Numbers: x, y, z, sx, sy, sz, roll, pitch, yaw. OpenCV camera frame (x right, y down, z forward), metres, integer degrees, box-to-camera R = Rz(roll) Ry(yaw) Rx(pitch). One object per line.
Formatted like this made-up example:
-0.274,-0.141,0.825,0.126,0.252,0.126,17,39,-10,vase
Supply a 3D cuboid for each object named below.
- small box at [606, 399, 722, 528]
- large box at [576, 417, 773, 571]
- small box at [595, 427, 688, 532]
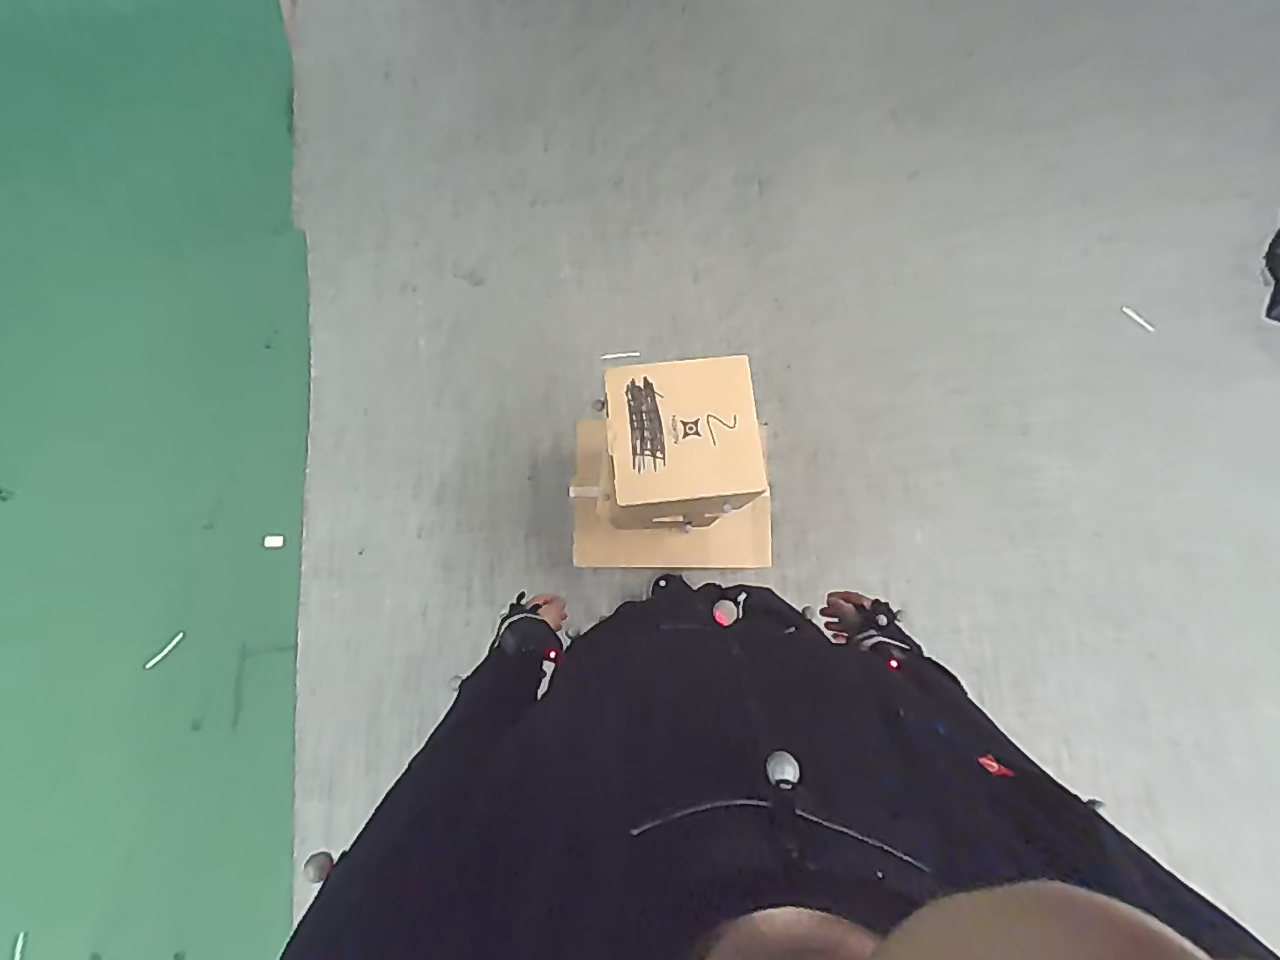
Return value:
0.033,-0.017,0.858,0.168,0.176,0.179,-2,79,-2,small box
0.065,0.048,1.256,0.408,0.320,0.320,0,80,0,large box
0.018,0.003,1.019,0.179,0.176,0.168,6,79,1,small box
